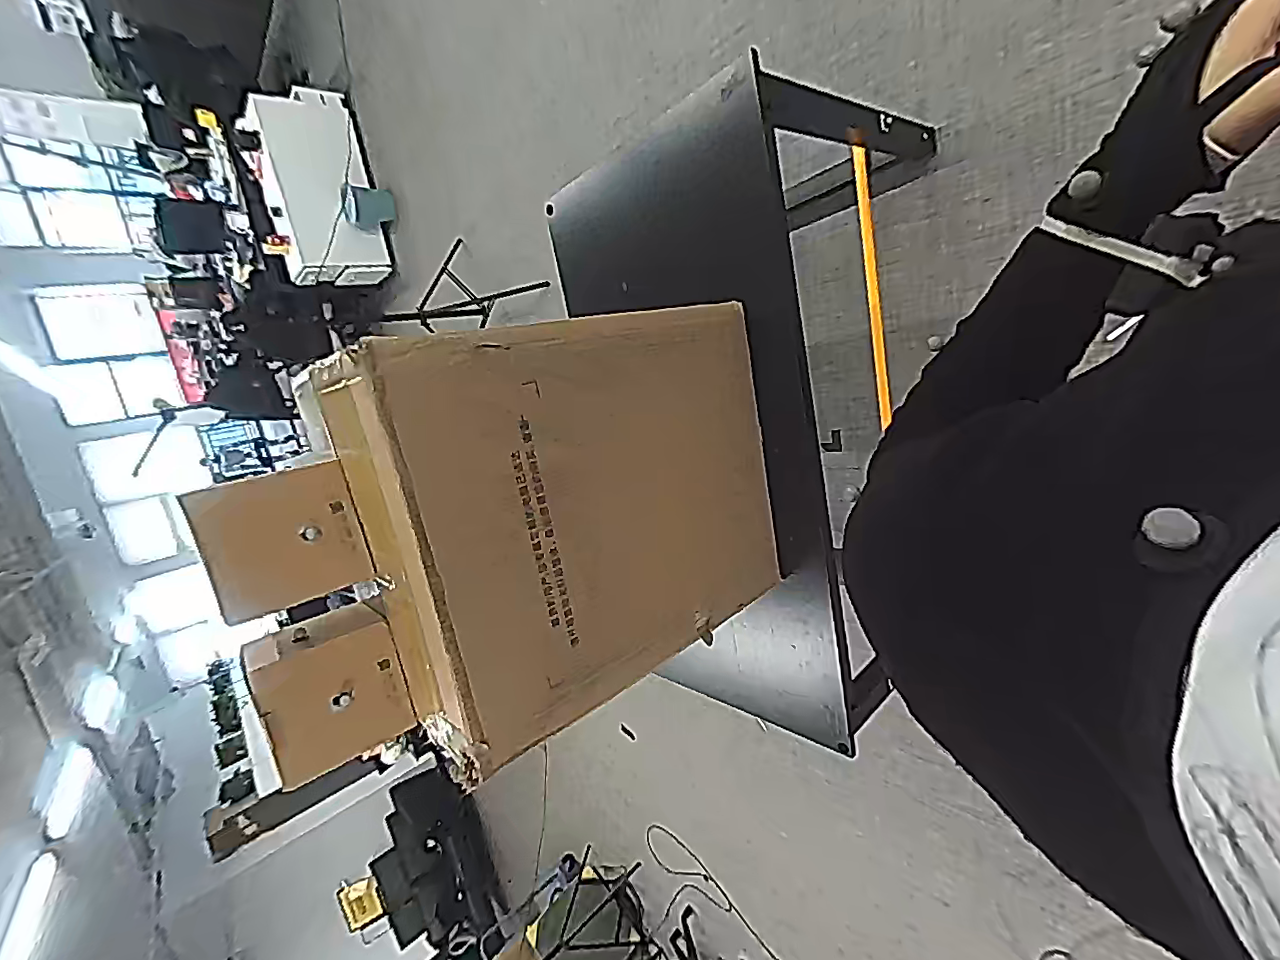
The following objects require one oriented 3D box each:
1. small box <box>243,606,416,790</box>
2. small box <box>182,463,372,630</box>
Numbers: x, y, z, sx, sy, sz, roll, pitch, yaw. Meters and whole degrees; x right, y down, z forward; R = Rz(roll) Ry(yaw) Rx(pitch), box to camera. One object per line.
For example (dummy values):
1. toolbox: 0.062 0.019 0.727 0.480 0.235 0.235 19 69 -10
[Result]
1. small box: -0.443 0.296 0.782 0.179 0.176 0.168 -4 101 52
2. small box: -0.483 0.077 0.733 0.179 0.176 0.168 -1 106 52
